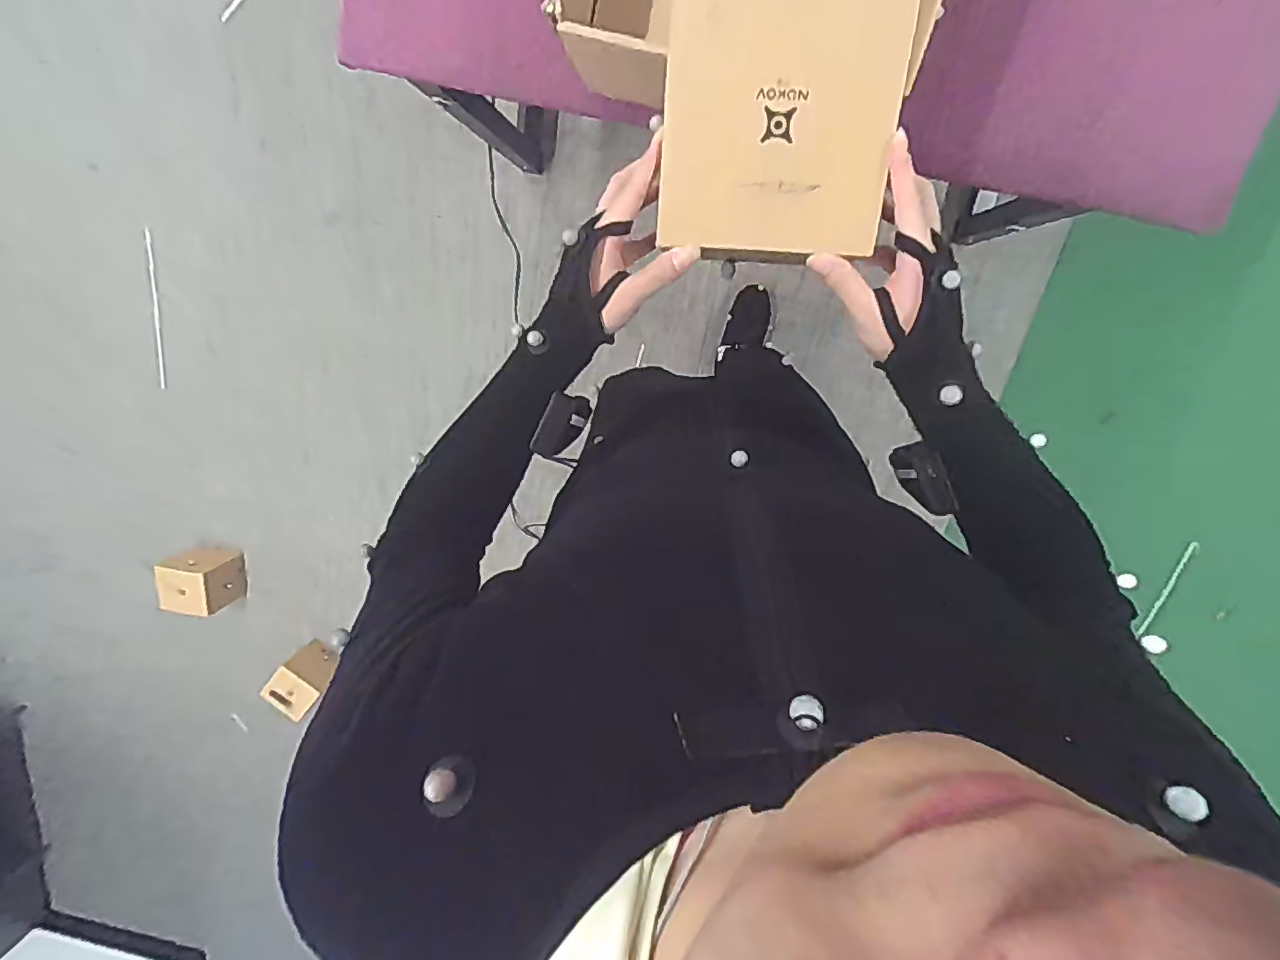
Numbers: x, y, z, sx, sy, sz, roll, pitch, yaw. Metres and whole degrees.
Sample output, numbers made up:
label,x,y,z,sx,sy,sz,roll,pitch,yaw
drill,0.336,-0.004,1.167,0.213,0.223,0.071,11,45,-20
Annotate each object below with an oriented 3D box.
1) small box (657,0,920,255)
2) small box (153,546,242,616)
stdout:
label,x,y,z,sx,sy,sz,roll,pitch,yaw
small box,0.106,-0.291,0.453,0.168,0.176,0.179,5,111,5
small box,-1.513,0.342,1.863,0.179,0.176,0.168,9,107,4
